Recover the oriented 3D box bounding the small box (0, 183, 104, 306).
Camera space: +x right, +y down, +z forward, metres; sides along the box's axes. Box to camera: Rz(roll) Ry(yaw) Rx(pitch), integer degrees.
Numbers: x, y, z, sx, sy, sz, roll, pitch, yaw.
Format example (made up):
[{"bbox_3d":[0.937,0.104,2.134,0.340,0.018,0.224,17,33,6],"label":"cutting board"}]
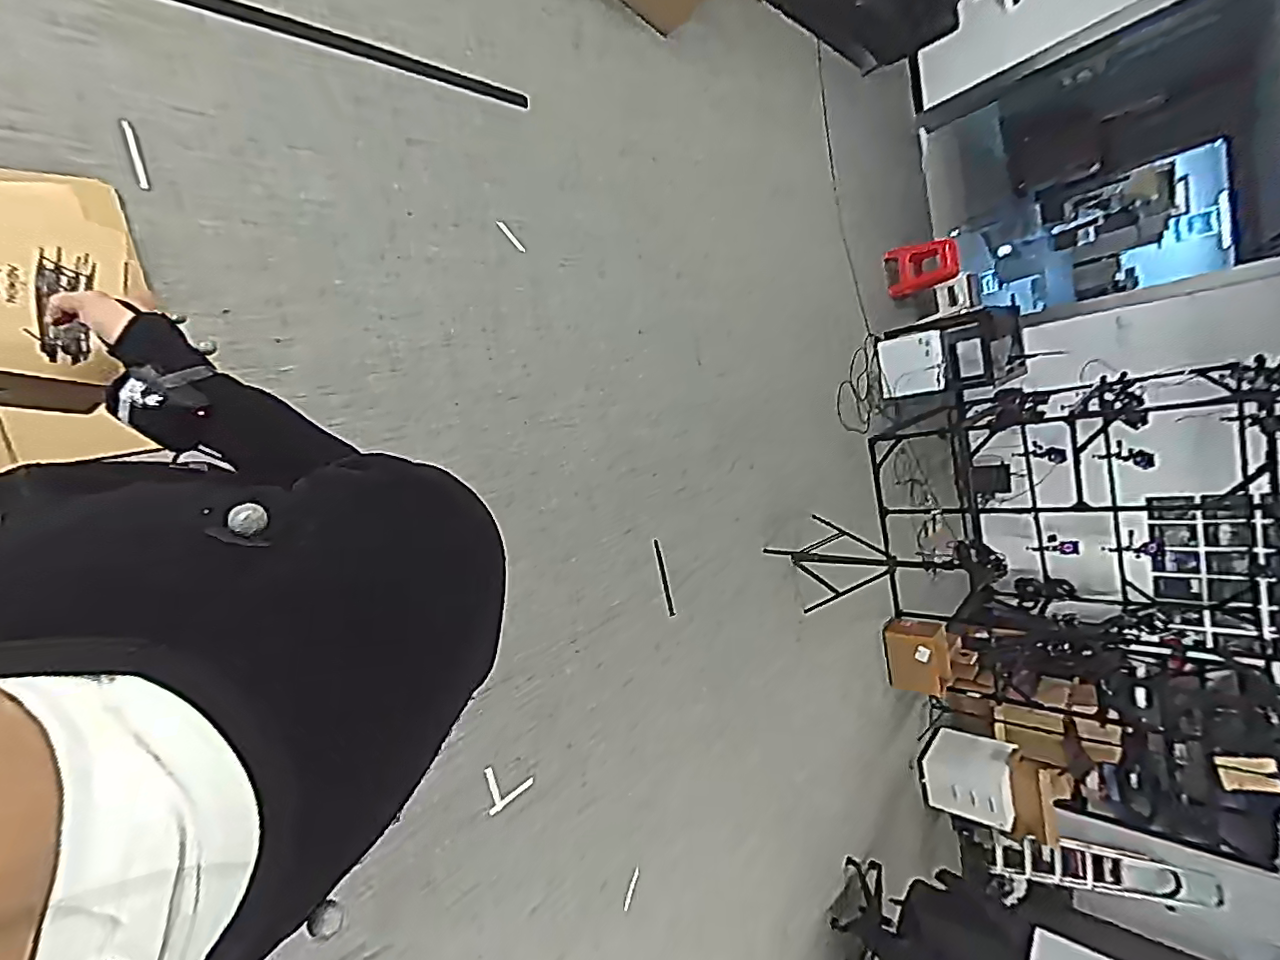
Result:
[{"bbox_3d":[-1.210,-0.463,1.073,0.168,0.176,0.179,-25,104,-43],"label":"small box"}]
